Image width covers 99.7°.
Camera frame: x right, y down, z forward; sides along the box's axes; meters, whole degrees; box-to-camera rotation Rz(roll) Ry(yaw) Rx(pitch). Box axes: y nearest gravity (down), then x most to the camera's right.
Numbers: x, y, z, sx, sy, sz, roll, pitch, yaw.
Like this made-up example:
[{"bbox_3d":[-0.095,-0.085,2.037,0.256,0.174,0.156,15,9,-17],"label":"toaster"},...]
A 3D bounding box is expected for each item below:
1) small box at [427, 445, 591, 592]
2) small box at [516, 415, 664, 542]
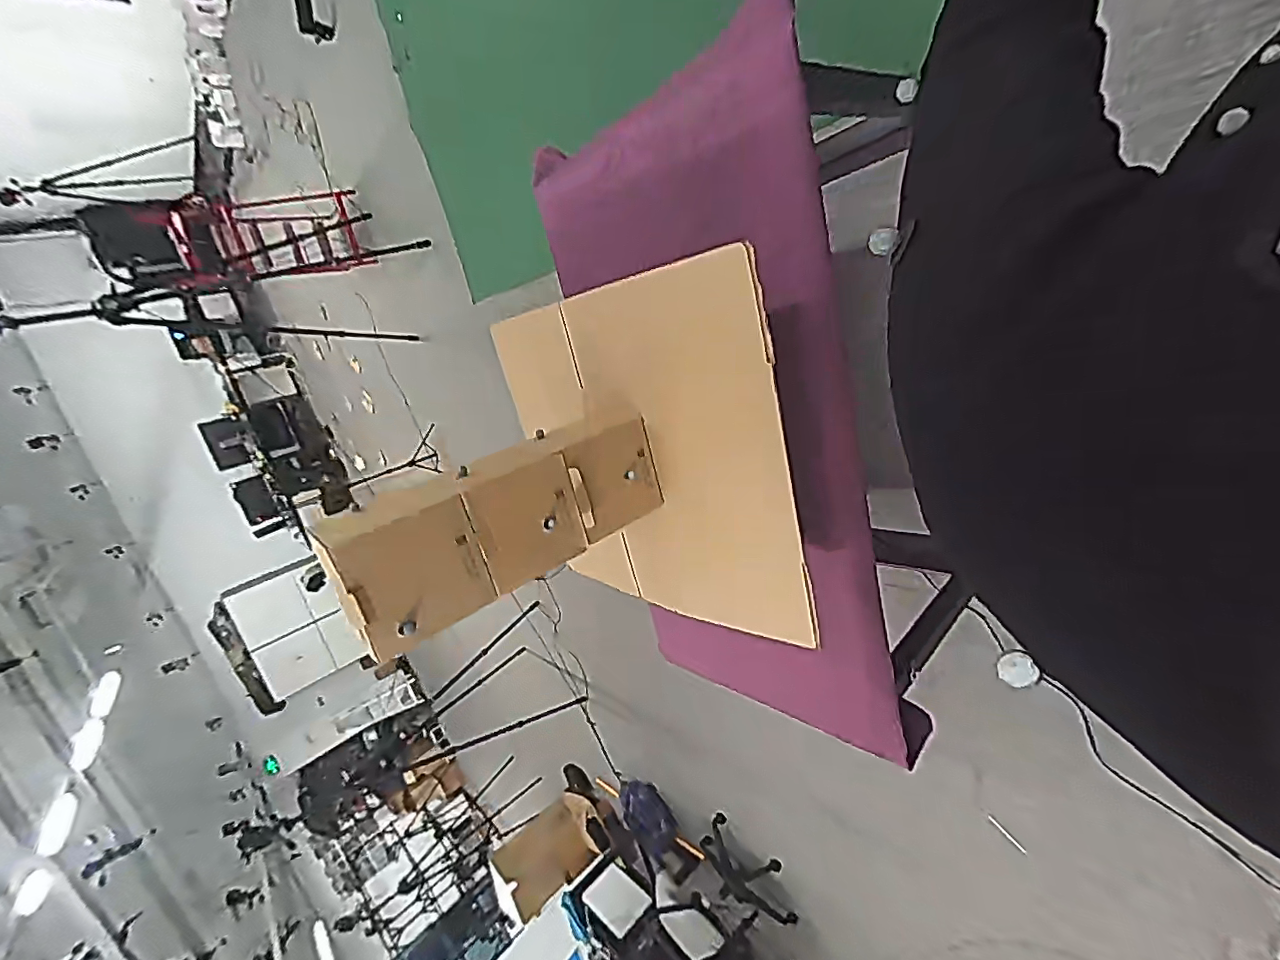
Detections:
[{"bbox_3d":[-0.205,0.049,0.854,0.179,0.176,0.168,6,116,50],"label":"small box"},{"bbox_3d":[-0.086,-0.011,0.947,0.179,0.176,0.168,7,117,50],"label":"small box"}]
